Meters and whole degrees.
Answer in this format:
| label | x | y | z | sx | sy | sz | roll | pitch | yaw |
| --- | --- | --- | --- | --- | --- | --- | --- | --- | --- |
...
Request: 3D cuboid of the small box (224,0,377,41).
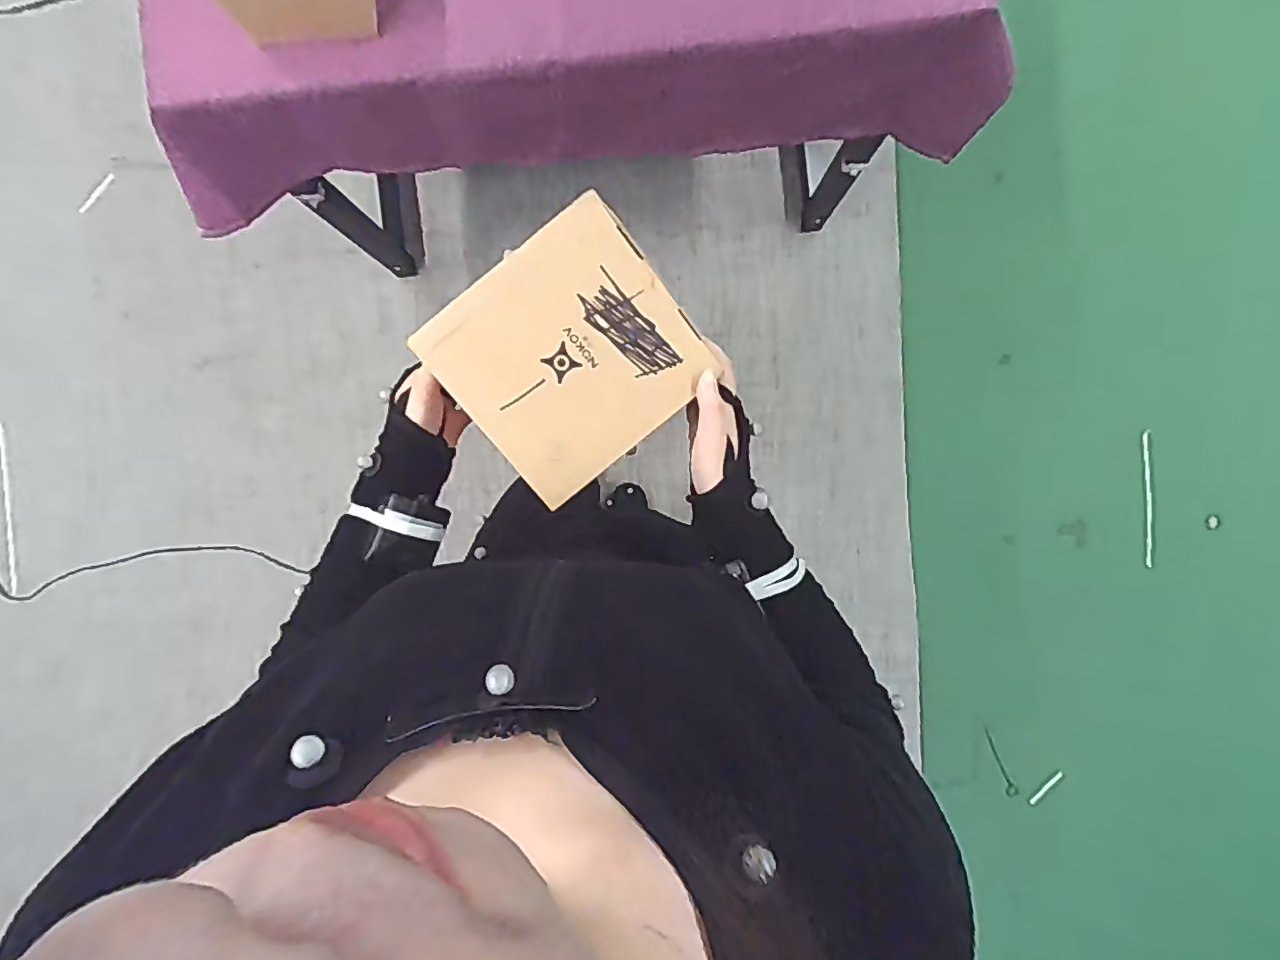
| label | x | y | z | sx | sy | sz | roll | pitch | yaw |
| --- | --- | --- | --- | --- | --- | --- | --- | --- | --- |
| small box | -0.461 | -0.699 | 0.683 | 0.179 | 0.176 | 0.168 | -2 | 91 | 0 |
